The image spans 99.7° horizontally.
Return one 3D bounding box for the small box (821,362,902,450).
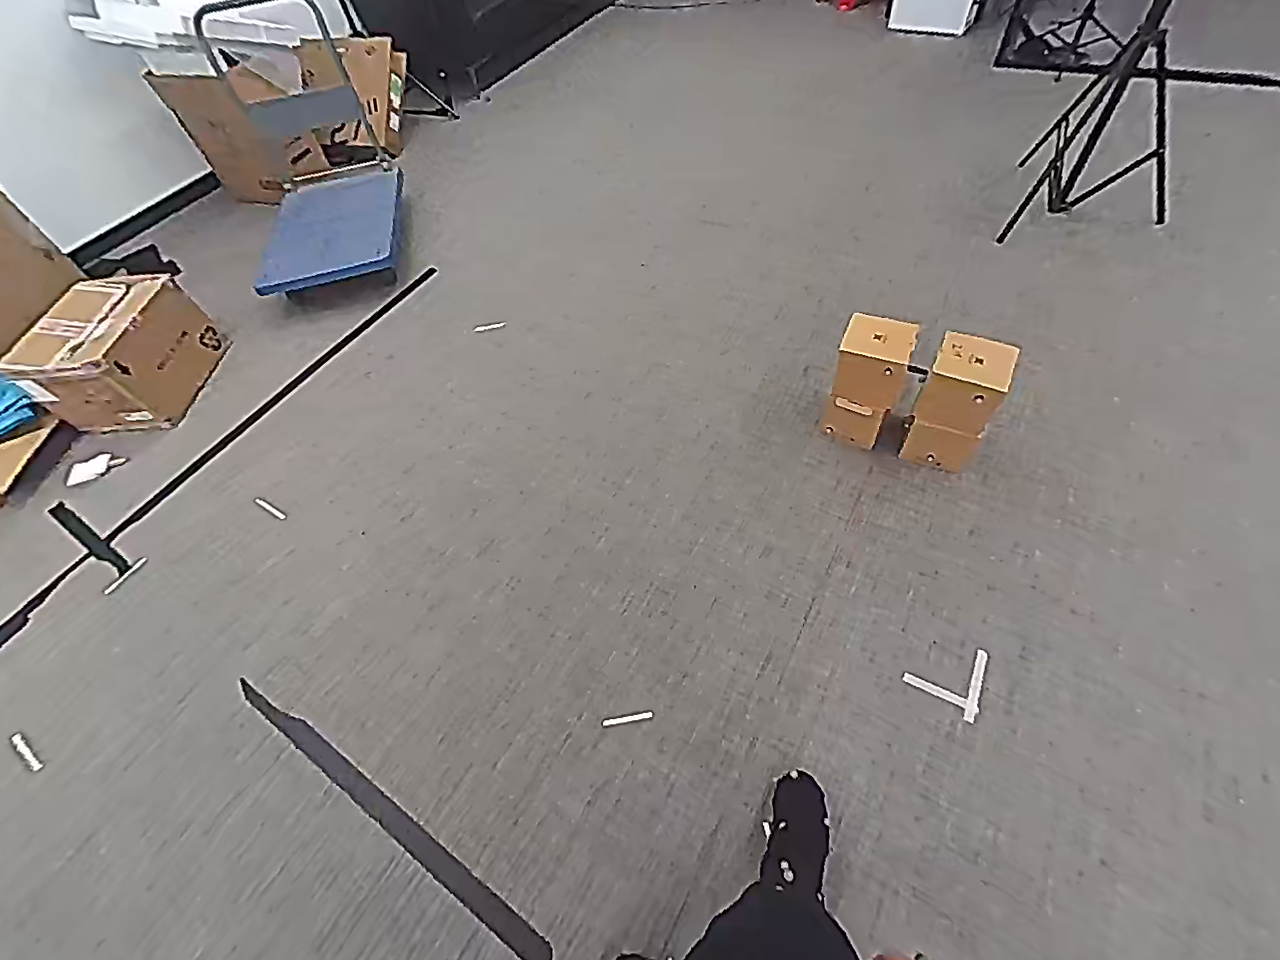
[{"bbox_3d":[0.656,-0.218,1.623,0.168,0.176,0.179,25,61,24],"label":"small box"}]
